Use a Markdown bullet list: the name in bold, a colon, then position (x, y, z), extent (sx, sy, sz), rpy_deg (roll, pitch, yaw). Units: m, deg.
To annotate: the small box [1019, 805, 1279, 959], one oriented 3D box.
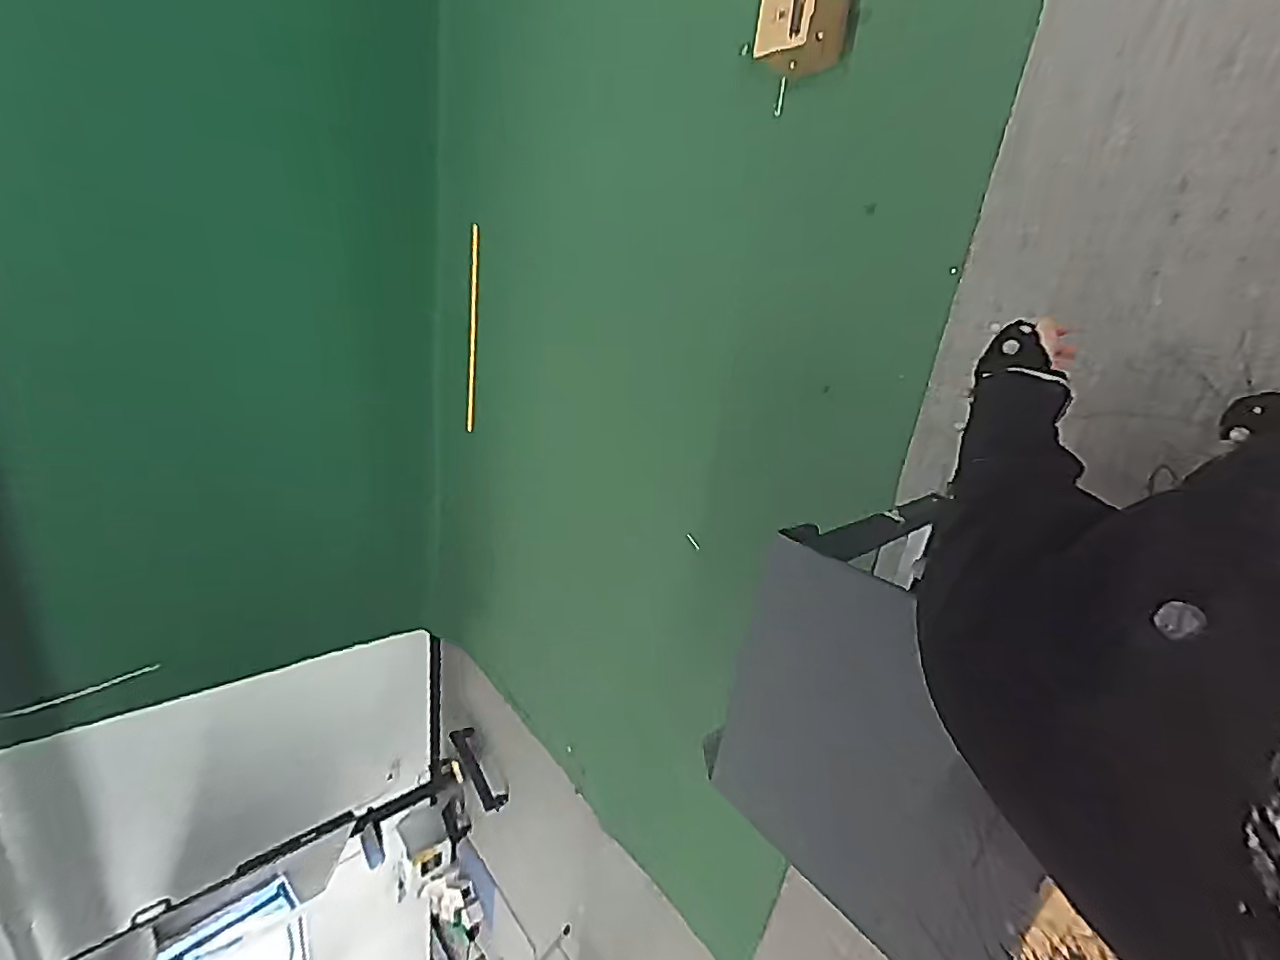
- **small box**: position (0.551, 0.511, 0.588), extent (0.168, 0.176, 0.179), rpy_deg (26, 117, 43)
